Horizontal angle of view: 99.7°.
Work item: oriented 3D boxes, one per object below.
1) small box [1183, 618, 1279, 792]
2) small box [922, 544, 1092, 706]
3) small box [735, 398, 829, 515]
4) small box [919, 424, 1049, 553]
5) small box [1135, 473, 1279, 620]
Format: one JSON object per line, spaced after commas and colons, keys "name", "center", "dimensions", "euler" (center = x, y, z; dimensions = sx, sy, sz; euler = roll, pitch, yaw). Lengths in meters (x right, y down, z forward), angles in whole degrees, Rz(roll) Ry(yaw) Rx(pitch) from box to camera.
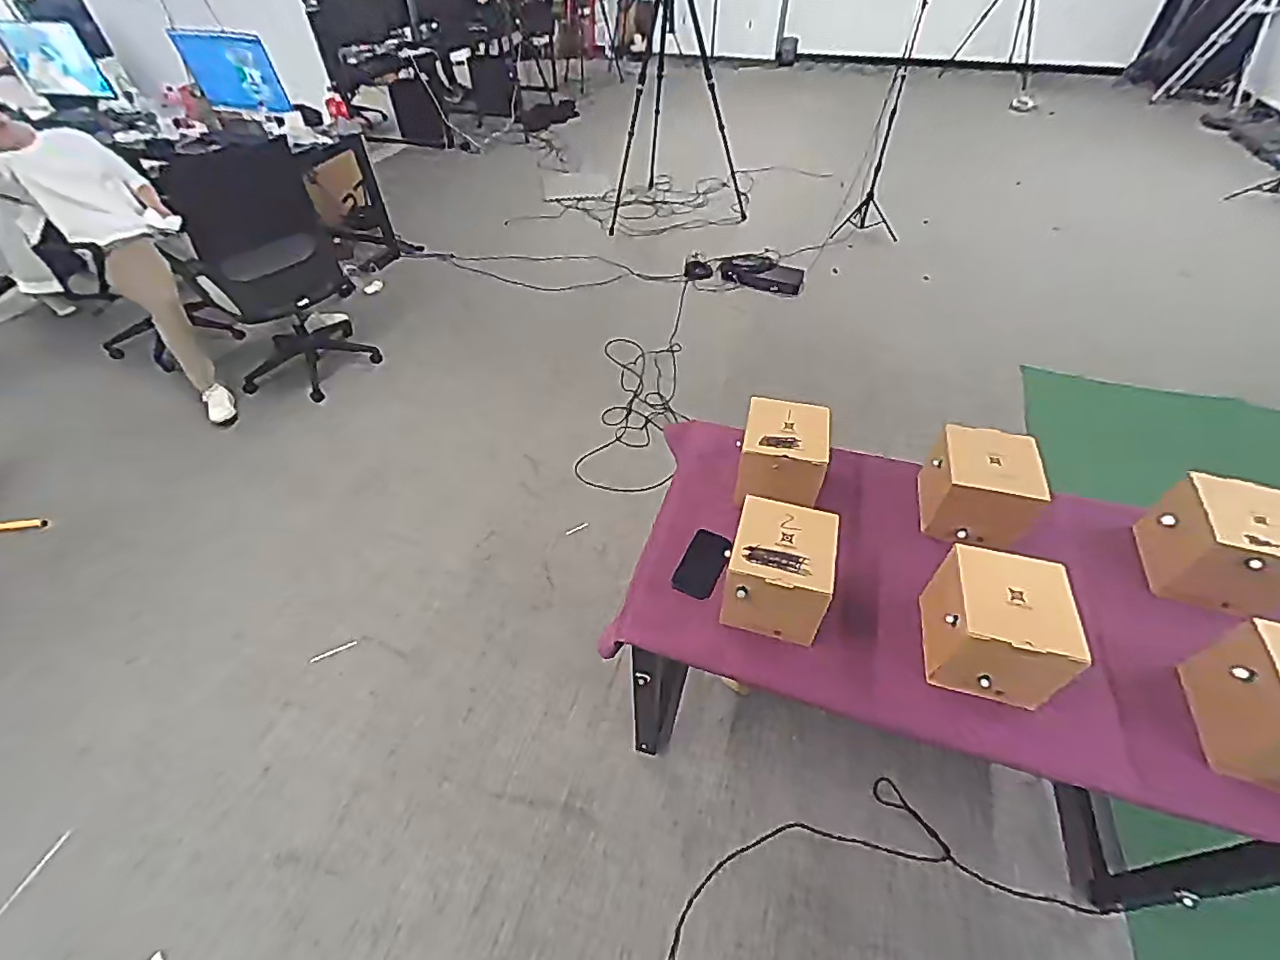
{"name": "small box", "center": [0.953, 0.337, 0.781], "dimensions": [0.168, 0.176, 0.179], "euler": [14, 48, 15]}
{"name": "small box", "center": [0.579, 0.238, 0.886], "dimensions": [0.168, 0.176, 0.179], "euler": [12, 48, 11]}
{"name": "small box", "center": [0.301, -0.048, 1.157], "dimensions": [0.168, 0.176, 0.179], "euler": [10, 47, 10]}
{"name": "small box", "center": [0.679, 0.017, 1.093], "dimensions": [0.168, 0.176, 0.179], "euler": [12, 49, 13]}
{"name": "small box", "center": [1.062, 0.121, 0.987], "dimensions": [0.168, 0.176, 0.179], "euler": [14, 48, 15]}
